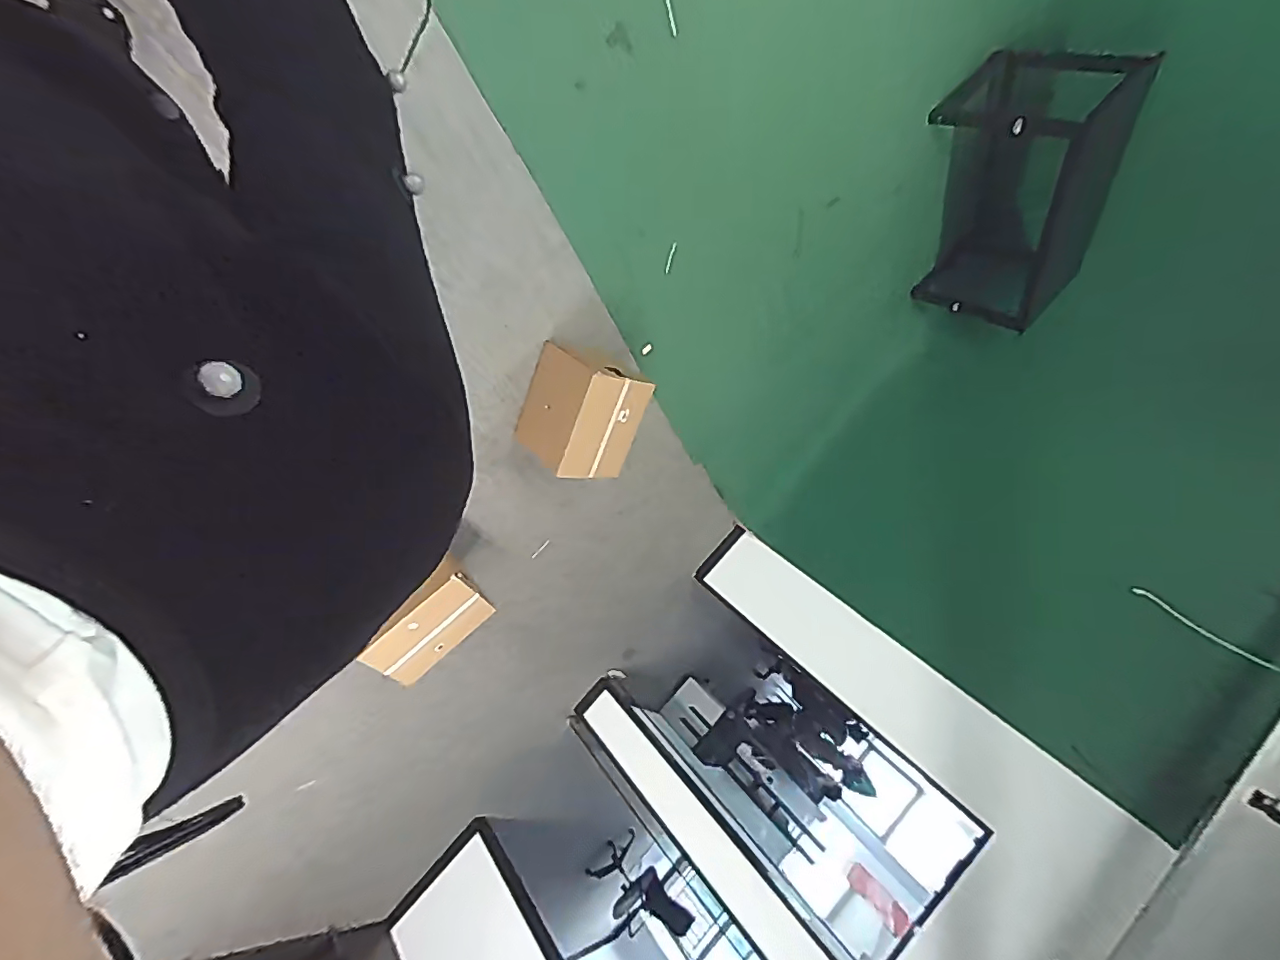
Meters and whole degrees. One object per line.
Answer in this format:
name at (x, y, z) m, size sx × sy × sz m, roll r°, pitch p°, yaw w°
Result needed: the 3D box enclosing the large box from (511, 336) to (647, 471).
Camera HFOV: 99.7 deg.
large box at (-0.239, -0.278, 2.040) m, size 0.320 × 0.320 × 0.408 m, roll -1°, pitch 121°, yaw -48°
